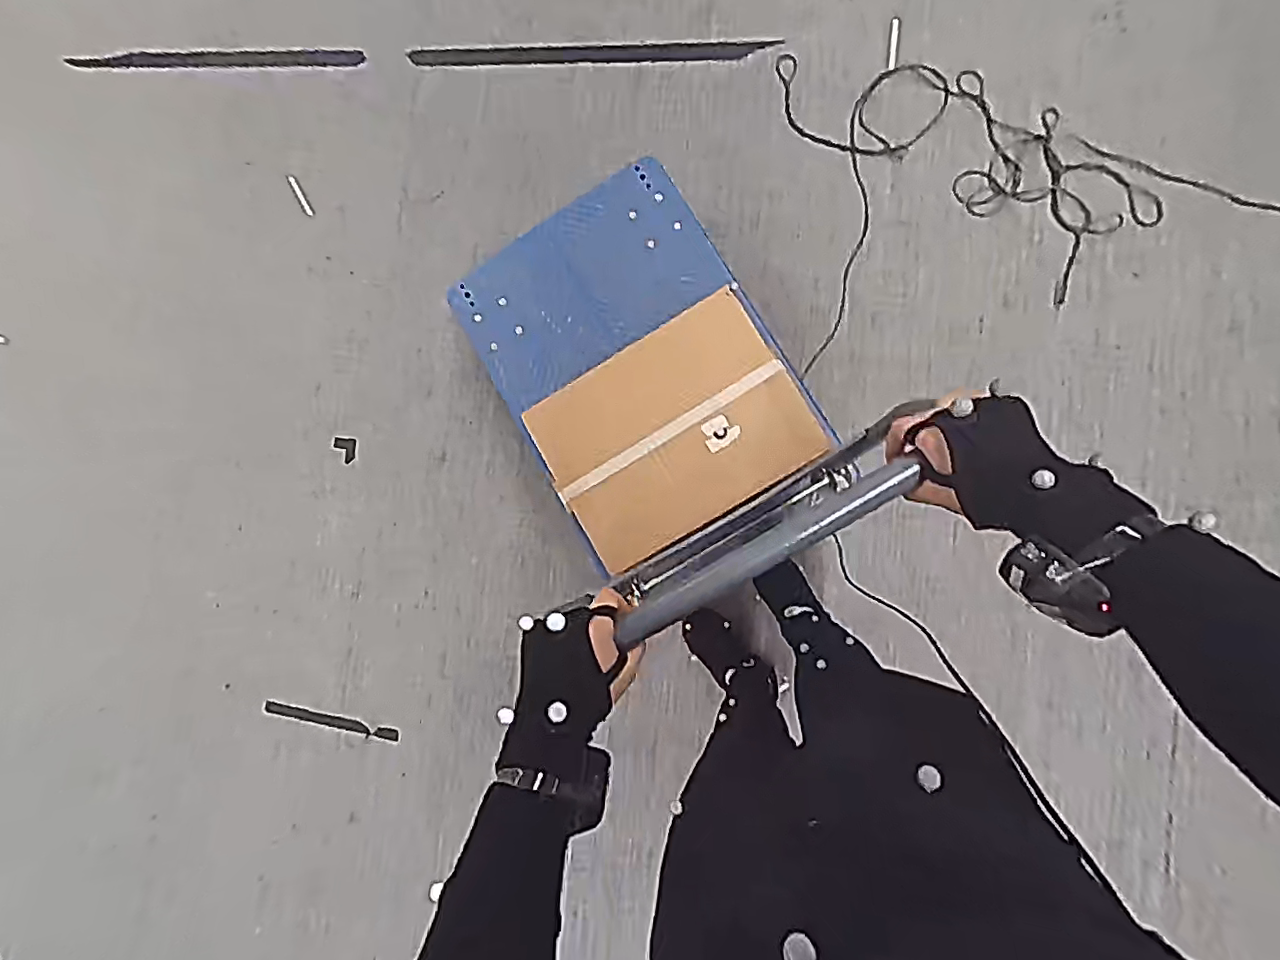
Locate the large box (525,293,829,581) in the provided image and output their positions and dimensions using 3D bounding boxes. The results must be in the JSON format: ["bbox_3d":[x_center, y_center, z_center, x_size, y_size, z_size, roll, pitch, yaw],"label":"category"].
[{"bbox_3d":[0.068,-0.057,1.007,0.408,0.320,0.320,-31,83,5],"label":"large box"}]
